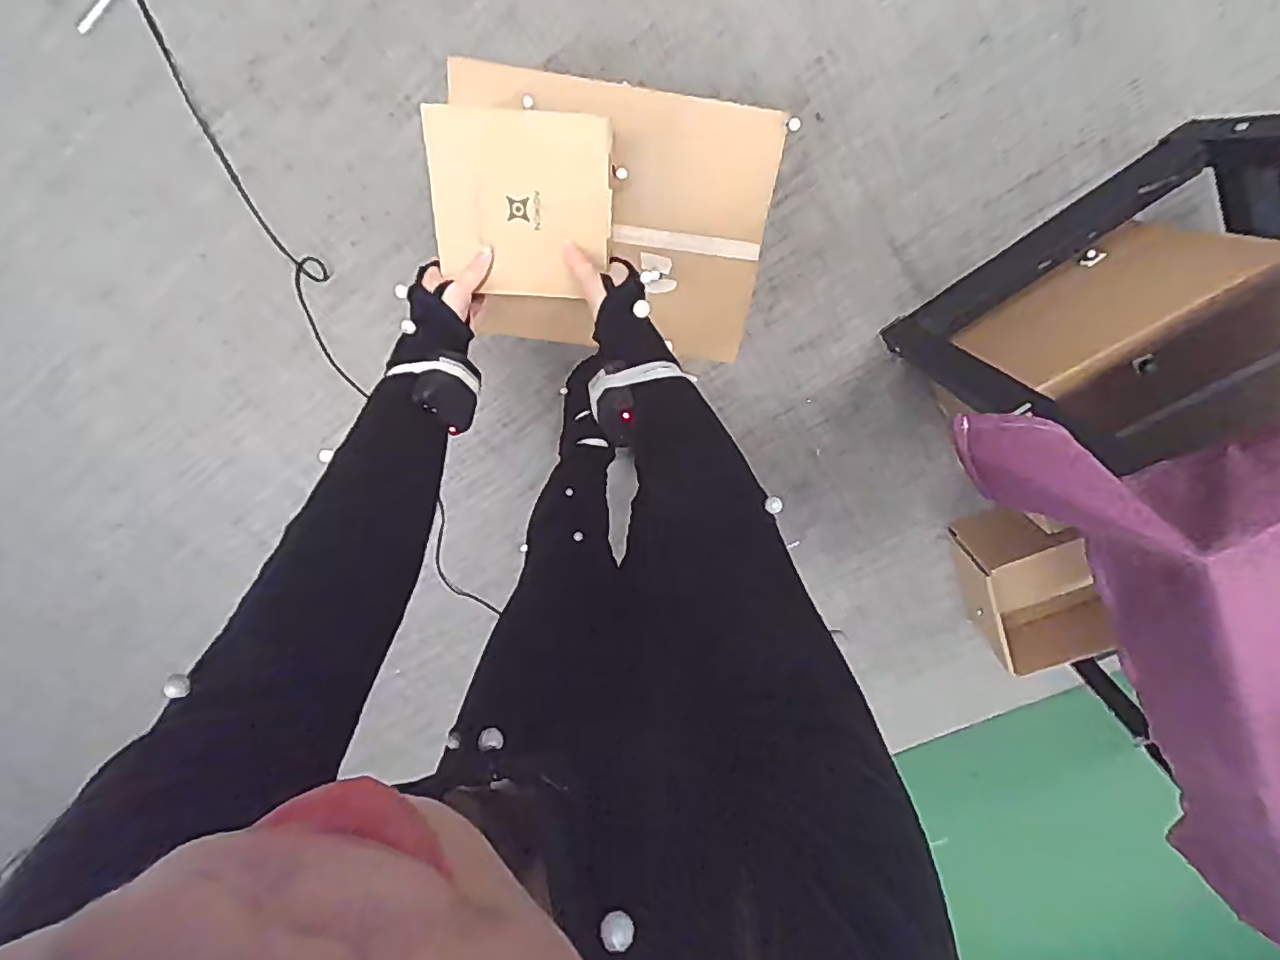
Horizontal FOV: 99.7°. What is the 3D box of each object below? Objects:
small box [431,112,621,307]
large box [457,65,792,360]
[{"bbox_3d":[-0.112,-0.299,0.604,0.179,0.176,0.168,3,118,-3],"label":"small box"},{"bbox_3d":[-0.037,-0.399,0.835,0.408,0.320,0.320,6,121,-5],"label":"large box"}]
